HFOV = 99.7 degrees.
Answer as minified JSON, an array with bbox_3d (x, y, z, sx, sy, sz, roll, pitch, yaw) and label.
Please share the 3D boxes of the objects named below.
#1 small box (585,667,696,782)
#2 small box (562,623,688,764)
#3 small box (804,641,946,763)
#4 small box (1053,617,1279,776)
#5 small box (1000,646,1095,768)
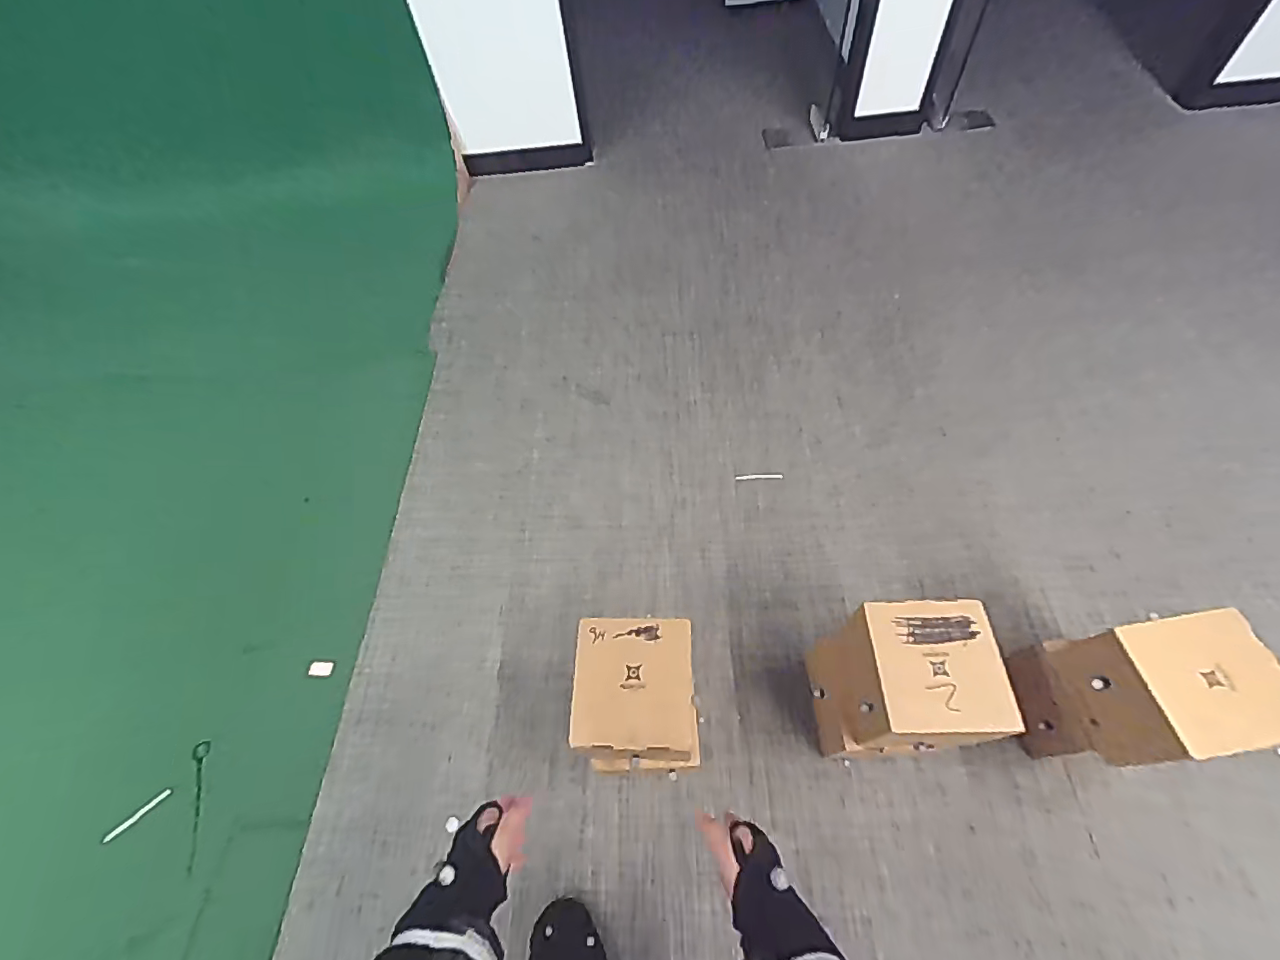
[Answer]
[{"bbox_3d":[0.004,0.430,0.950,0.179,0.176,0.168,-4,57,3],"label":"small box"},{"bbox_3d":[-0.012,0.328,0.820,0.168,0.176,0.179,0,59,5],"label":"small box"},{"bbox_3d":[0.391,0.389,0.936,0.168,0.176,0.179,-3,57,4],"label":"small box"},{"bbox_3d":[0.733,0.310,0.760,0.179,0.176,0.168,-9,58,-1],"label":"small box"},{"bbox_3d":[0.744,0.382,0.906,0.179,0.176,0.168,-5,59,2],"label":"small box"}]
